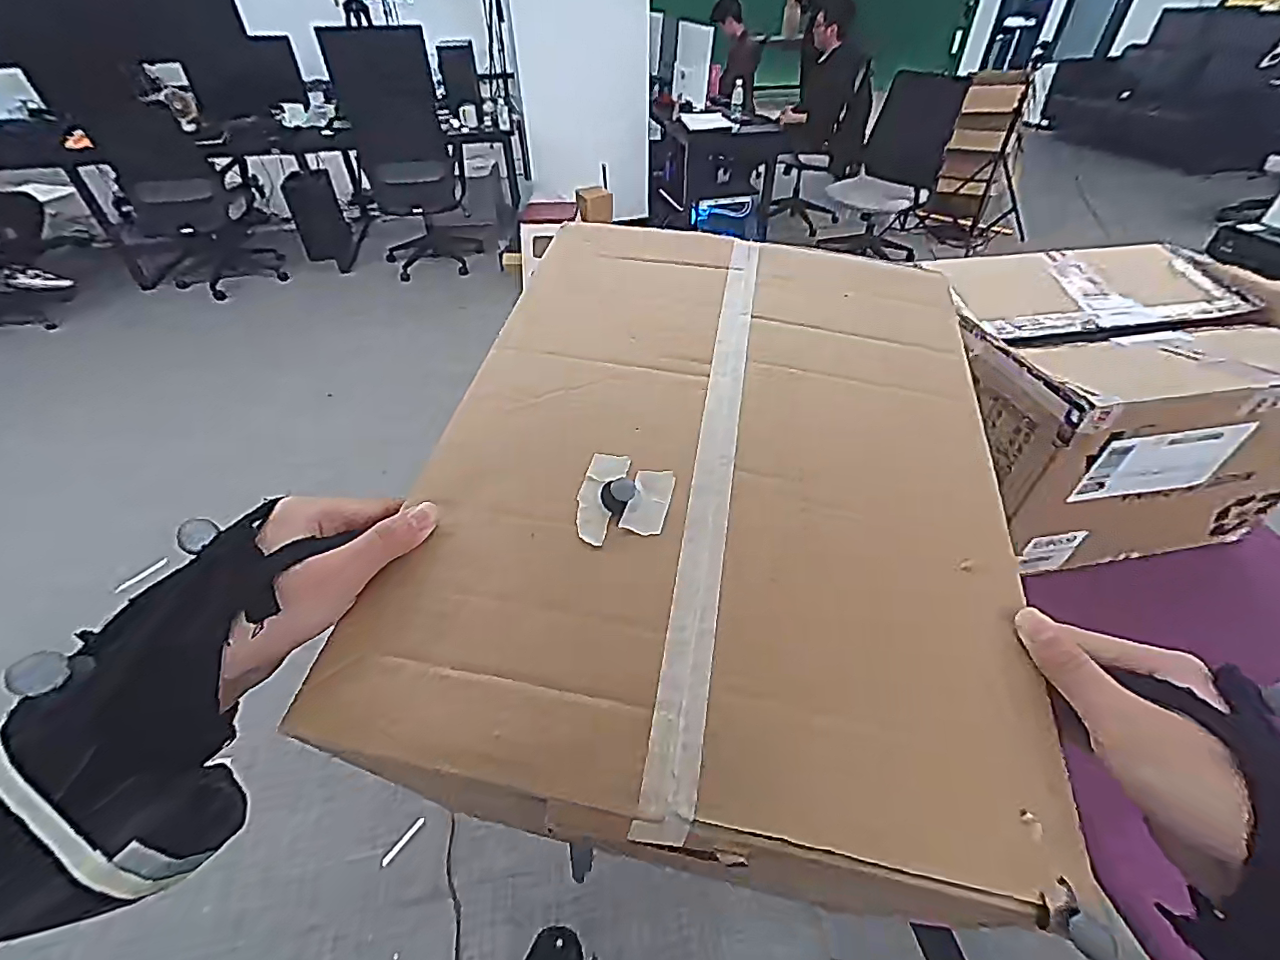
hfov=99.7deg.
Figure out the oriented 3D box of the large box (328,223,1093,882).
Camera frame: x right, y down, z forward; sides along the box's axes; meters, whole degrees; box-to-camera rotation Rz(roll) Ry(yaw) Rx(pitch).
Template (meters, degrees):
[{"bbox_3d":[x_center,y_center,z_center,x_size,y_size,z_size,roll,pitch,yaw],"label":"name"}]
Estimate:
[{"bbox_3d":[0.046,0.053,0.446,0.320,0.320,0.408,9,54,6],"label":"large box"}]
